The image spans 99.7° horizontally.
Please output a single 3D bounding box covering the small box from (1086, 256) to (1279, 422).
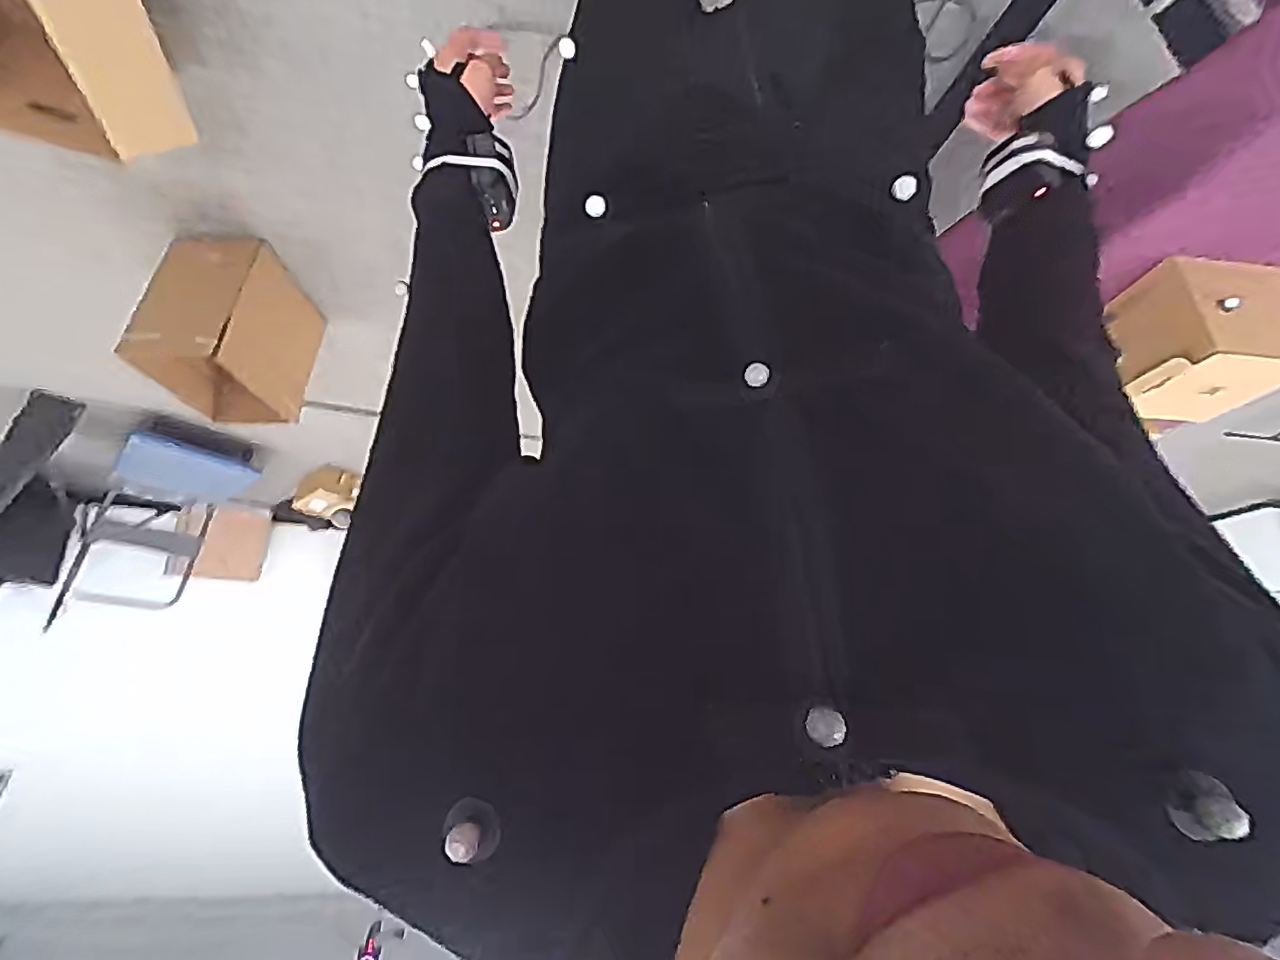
[{"bbox_3d":[0.824,-0.206,0.805,0.179,0.176,0.168,4,157,-5],"label":"small box"}]
